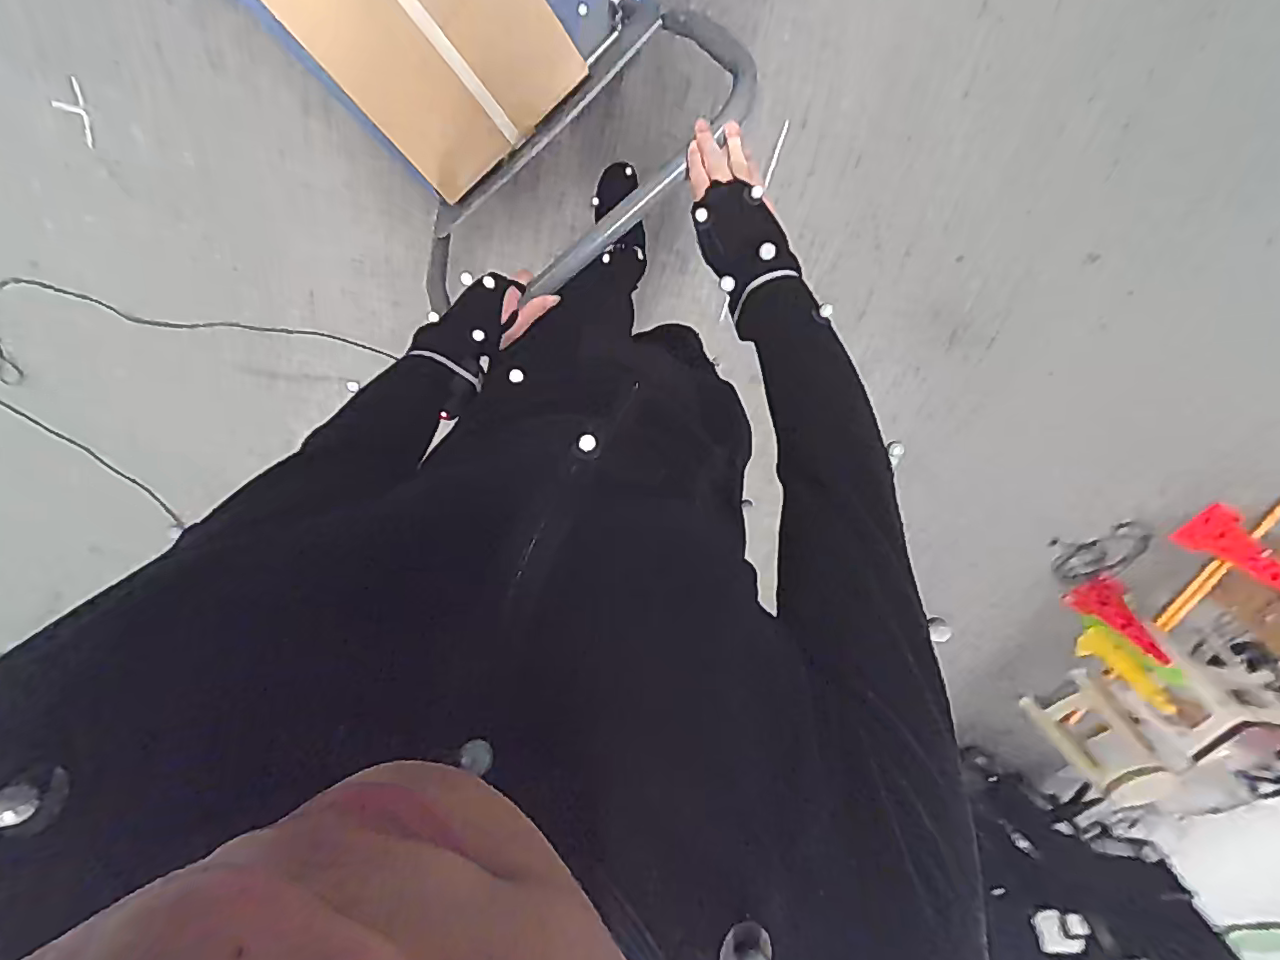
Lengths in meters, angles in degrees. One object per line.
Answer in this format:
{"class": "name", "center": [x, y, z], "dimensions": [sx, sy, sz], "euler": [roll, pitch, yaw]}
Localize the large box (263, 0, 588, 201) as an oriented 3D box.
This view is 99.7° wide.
{"class": "large box", "center": [-0.336, -0.758, 0.880], "dimensions": [0.320, 0.320, 0.408], "euler": [-34, 128, 16]}
